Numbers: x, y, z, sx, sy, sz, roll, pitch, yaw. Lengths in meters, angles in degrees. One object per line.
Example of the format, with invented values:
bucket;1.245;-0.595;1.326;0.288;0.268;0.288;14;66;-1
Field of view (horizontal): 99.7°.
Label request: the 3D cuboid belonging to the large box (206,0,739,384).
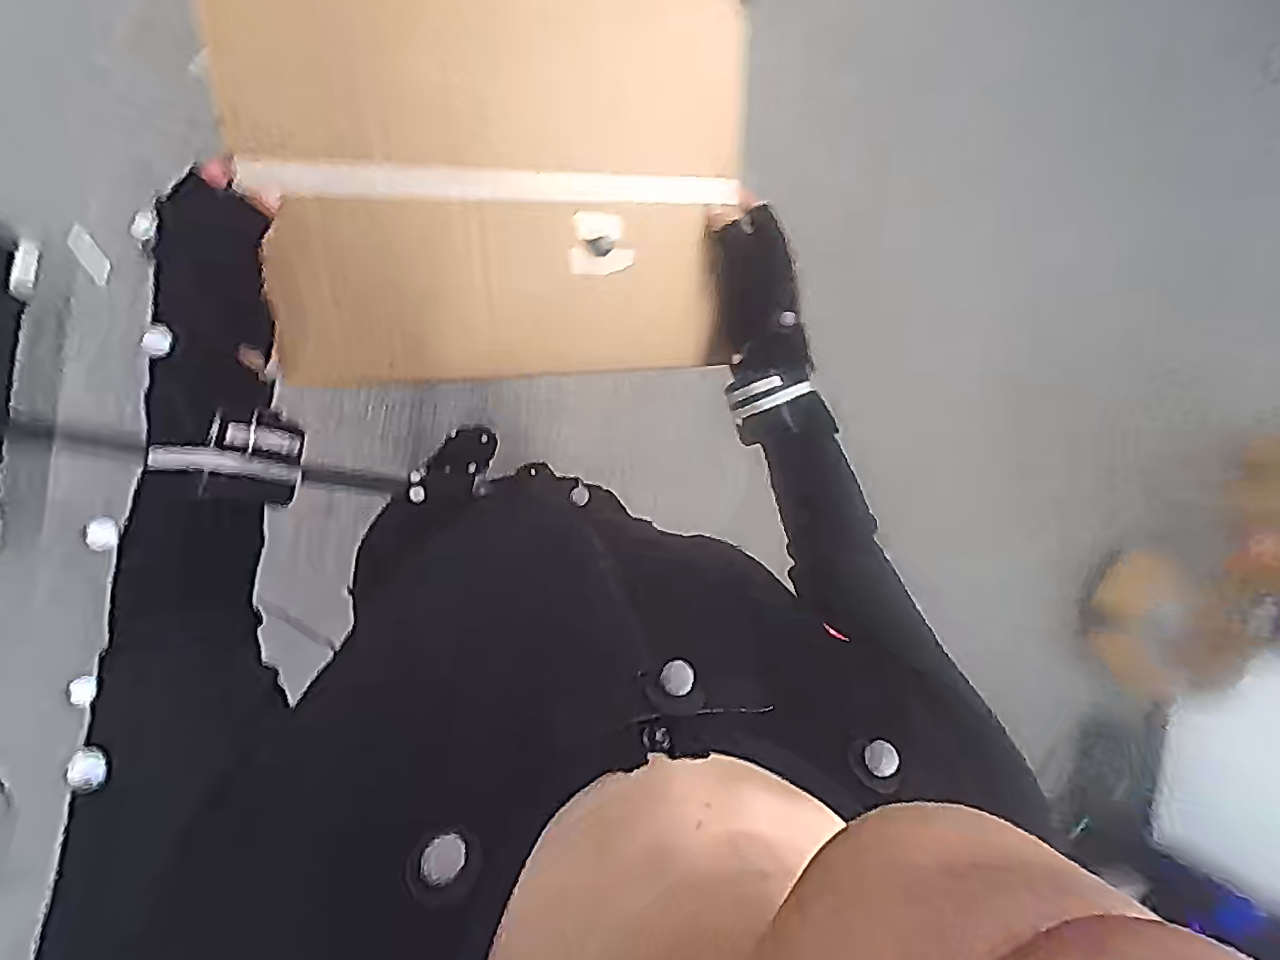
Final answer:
large box;-0.146;-0.295;0.585;0.408;0.320;0.320;-8;111;-17
